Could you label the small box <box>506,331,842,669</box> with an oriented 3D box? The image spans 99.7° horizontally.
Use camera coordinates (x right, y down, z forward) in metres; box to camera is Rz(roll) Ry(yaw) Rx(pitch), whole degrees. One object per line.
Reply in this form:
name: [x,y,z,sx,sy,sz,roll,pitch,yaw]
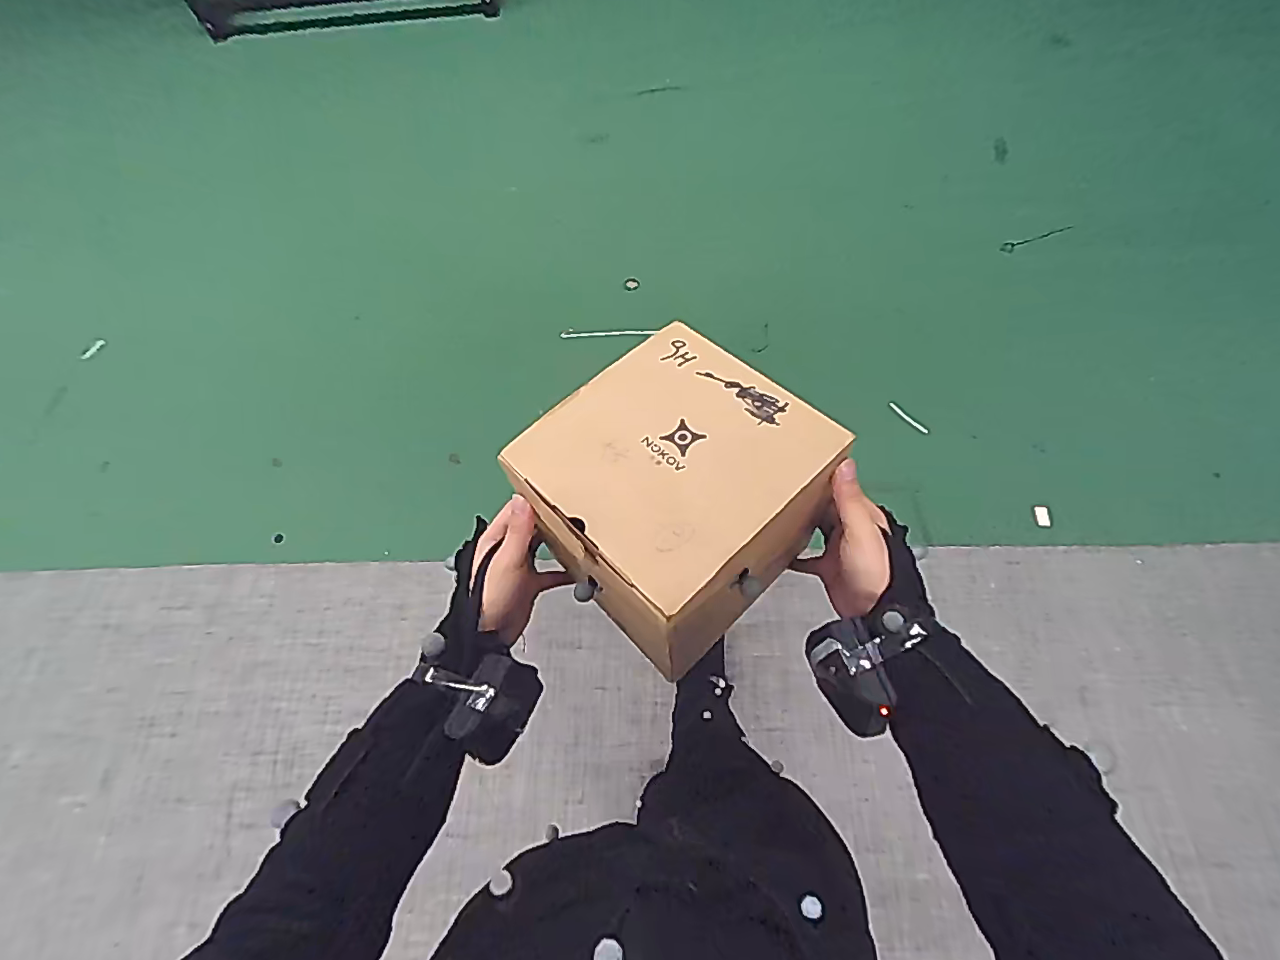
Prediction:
small box: [0.029,0.023,0.437,0.179,0.176,0.168,-41,64,-18]
